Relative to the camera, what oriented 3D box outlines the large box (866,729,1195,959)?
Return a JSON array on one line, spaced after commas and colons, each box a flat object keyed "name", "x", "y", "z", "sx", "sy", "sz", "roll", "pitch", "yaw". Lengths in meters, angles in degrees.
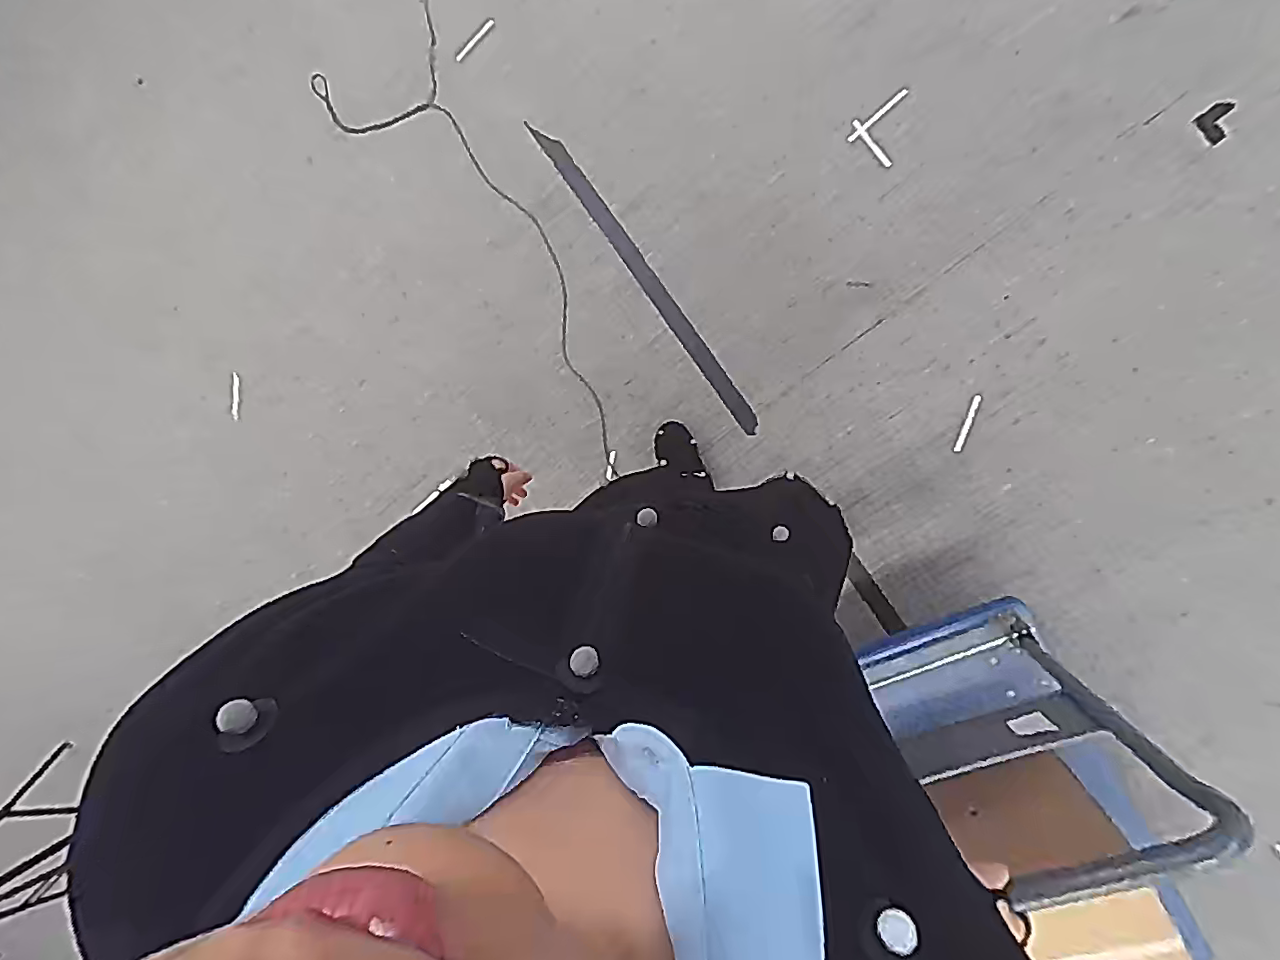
[{"name": "large box", "x": 0.742, "y": 0.782, "z": 1.100, "sx": 0.408, "sy": 0.320, "sz": 0.320, "roll": -27, "pitch": 90, "yaw": 14}]
